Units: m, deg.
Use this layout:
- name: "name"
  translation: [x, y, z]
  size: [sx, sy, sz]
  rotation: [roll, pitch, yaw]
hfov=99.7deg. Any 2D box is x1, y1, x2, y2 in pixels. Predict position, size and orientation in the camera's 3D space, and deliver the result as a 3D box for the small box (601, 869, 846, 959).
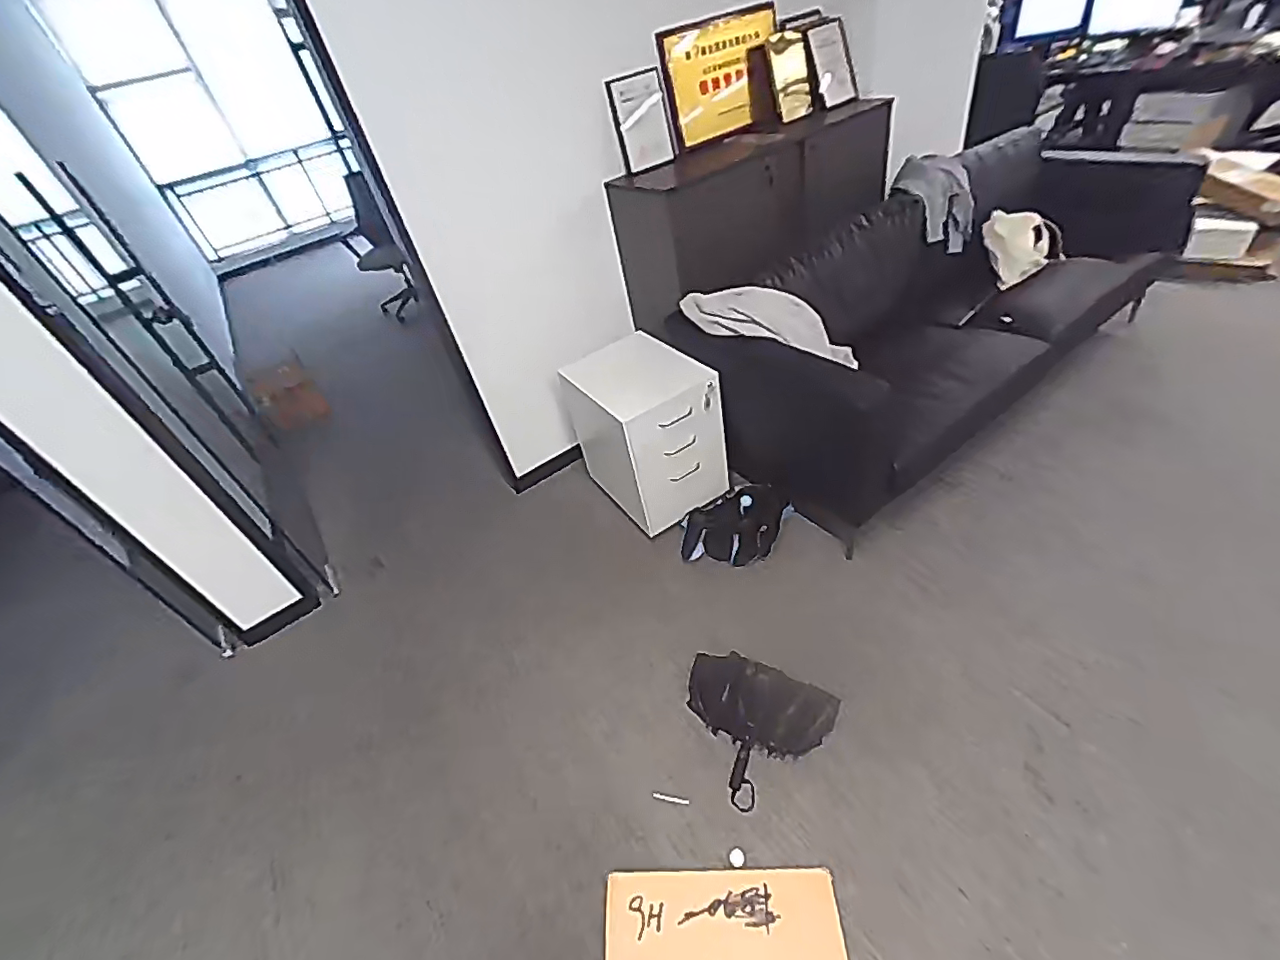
- name: "small box"
  translation: [0.057, 0.400, 0.396]
  size: [0.168, 0.176, 0.179]
  rotation: [-1, 49, 0]
